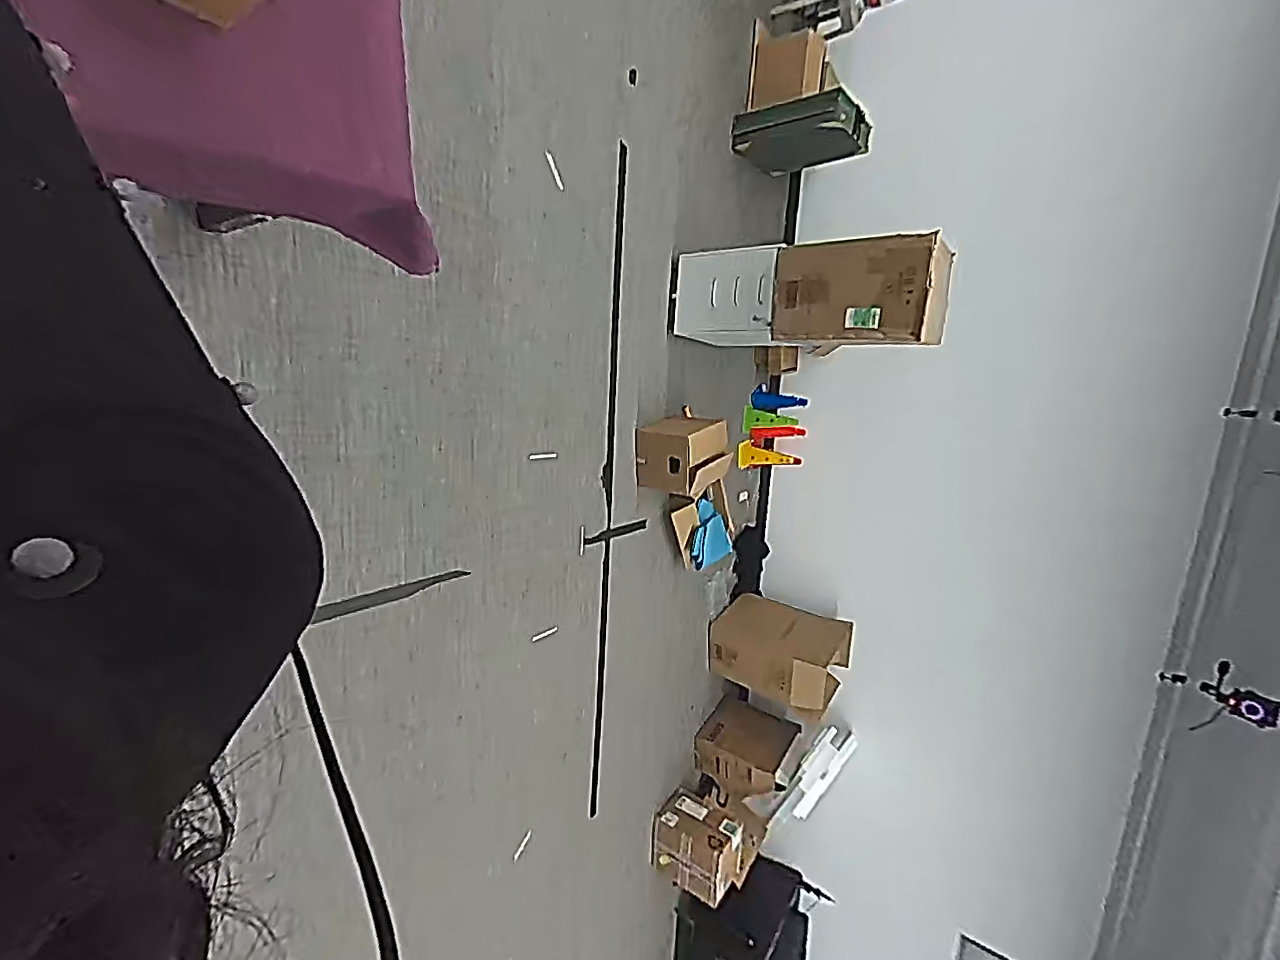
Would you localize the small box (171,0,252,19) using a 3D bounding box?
[{"bbox_3d":[-0.468,-0.604,0.517,0.168,0.176,0.179,-11,108,-54],"label":"small box"}]
